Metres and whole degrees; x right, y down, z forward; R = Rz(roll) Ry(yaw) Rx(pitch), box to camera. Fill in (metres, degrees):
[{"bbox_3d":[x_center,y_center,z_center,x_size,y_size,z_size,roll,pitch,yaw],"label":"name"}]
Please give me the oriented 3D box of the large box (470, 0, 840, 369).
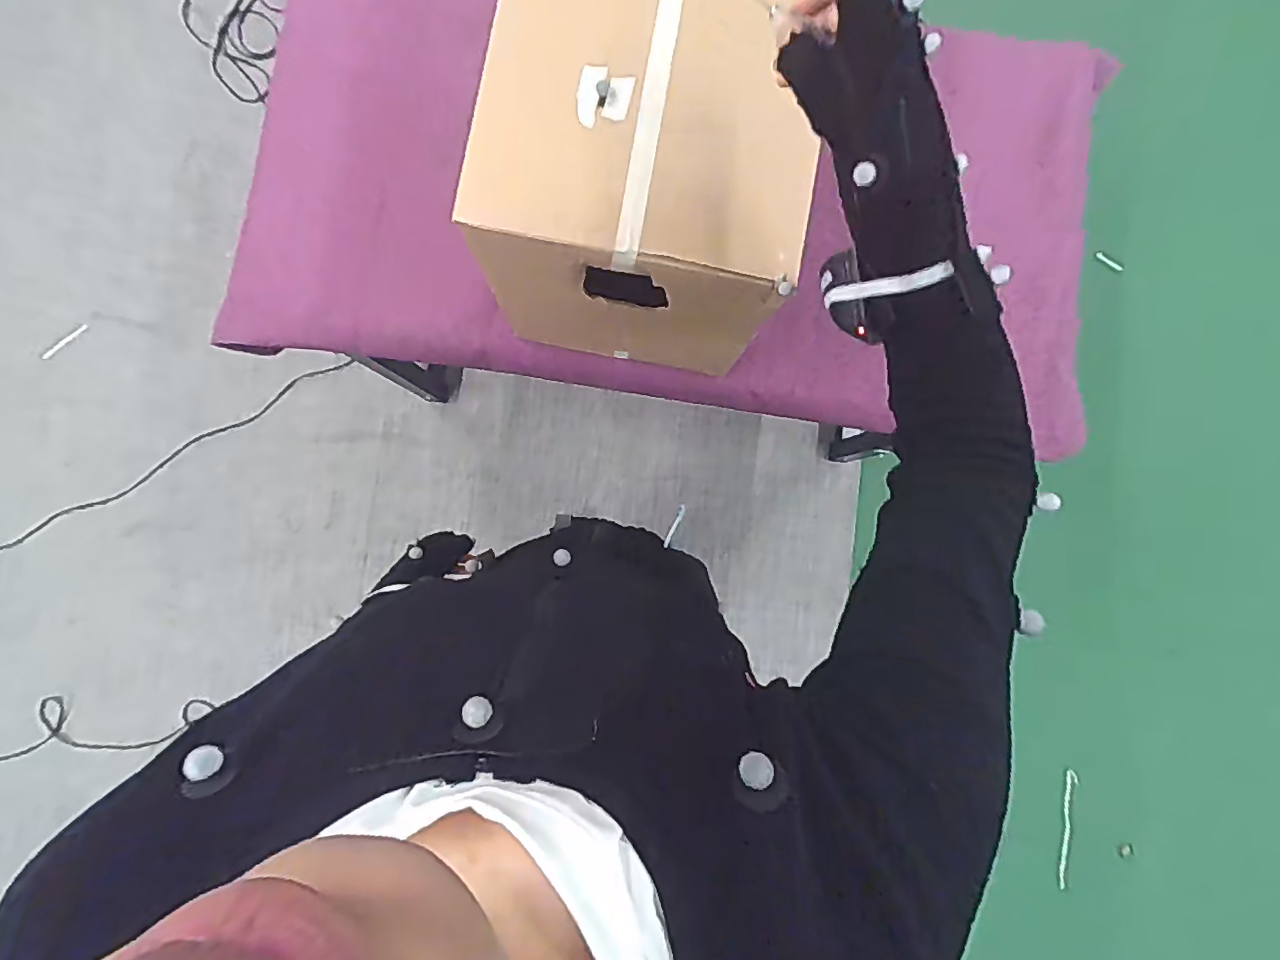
[{"bbox_3d":[0.017,-0.391,0.657,0.320,0.320,0.408,11,86,-2],"label":"large box"}]
